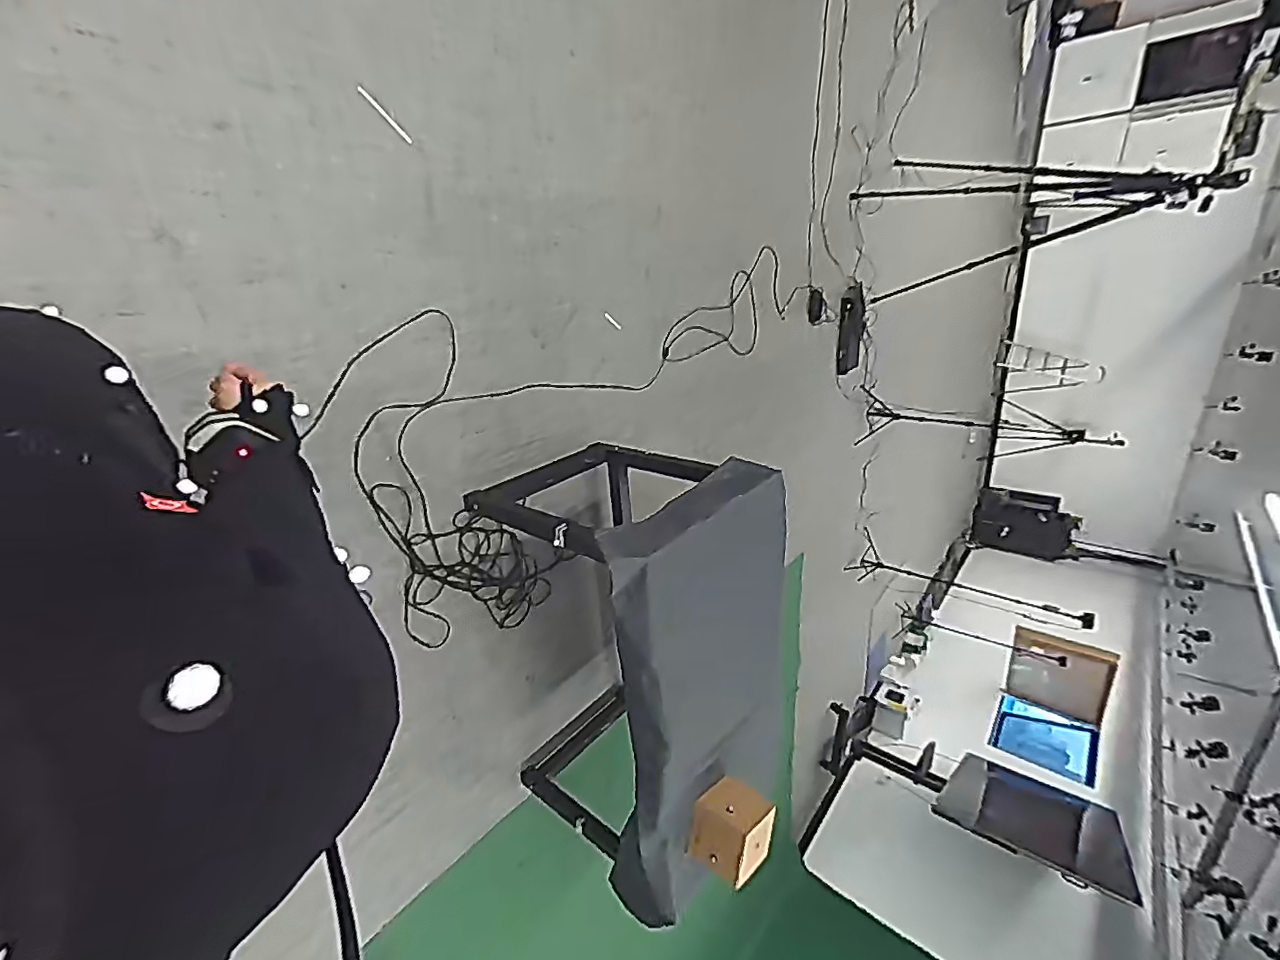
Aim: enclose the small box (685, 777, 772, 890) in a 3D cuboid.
[{"bbox_3d":[0.247,0.984,1.523,0.179,0.176,0.168,-1,102,-52],"label":"small box"}]
